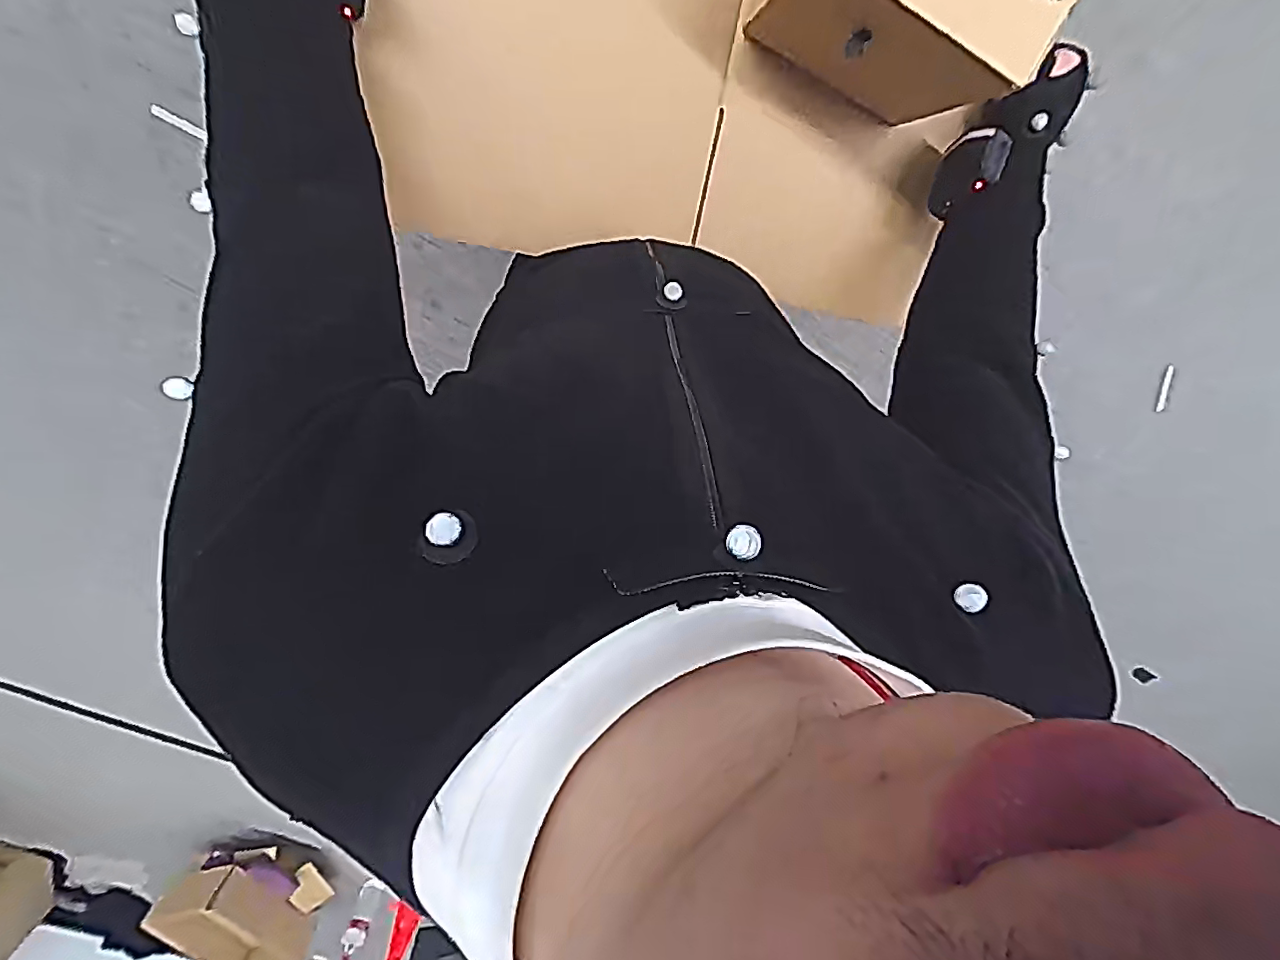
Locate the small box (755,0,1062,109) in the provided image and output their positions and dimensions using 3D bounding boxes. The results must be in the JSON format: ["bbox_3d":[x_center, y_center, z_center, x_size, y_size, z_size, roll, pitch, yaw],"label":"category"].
[{"bbox_3d":[0.210,-0.410,0.400,0.179,0.176,0.168,20,112,-14],"label":"small box"}]
